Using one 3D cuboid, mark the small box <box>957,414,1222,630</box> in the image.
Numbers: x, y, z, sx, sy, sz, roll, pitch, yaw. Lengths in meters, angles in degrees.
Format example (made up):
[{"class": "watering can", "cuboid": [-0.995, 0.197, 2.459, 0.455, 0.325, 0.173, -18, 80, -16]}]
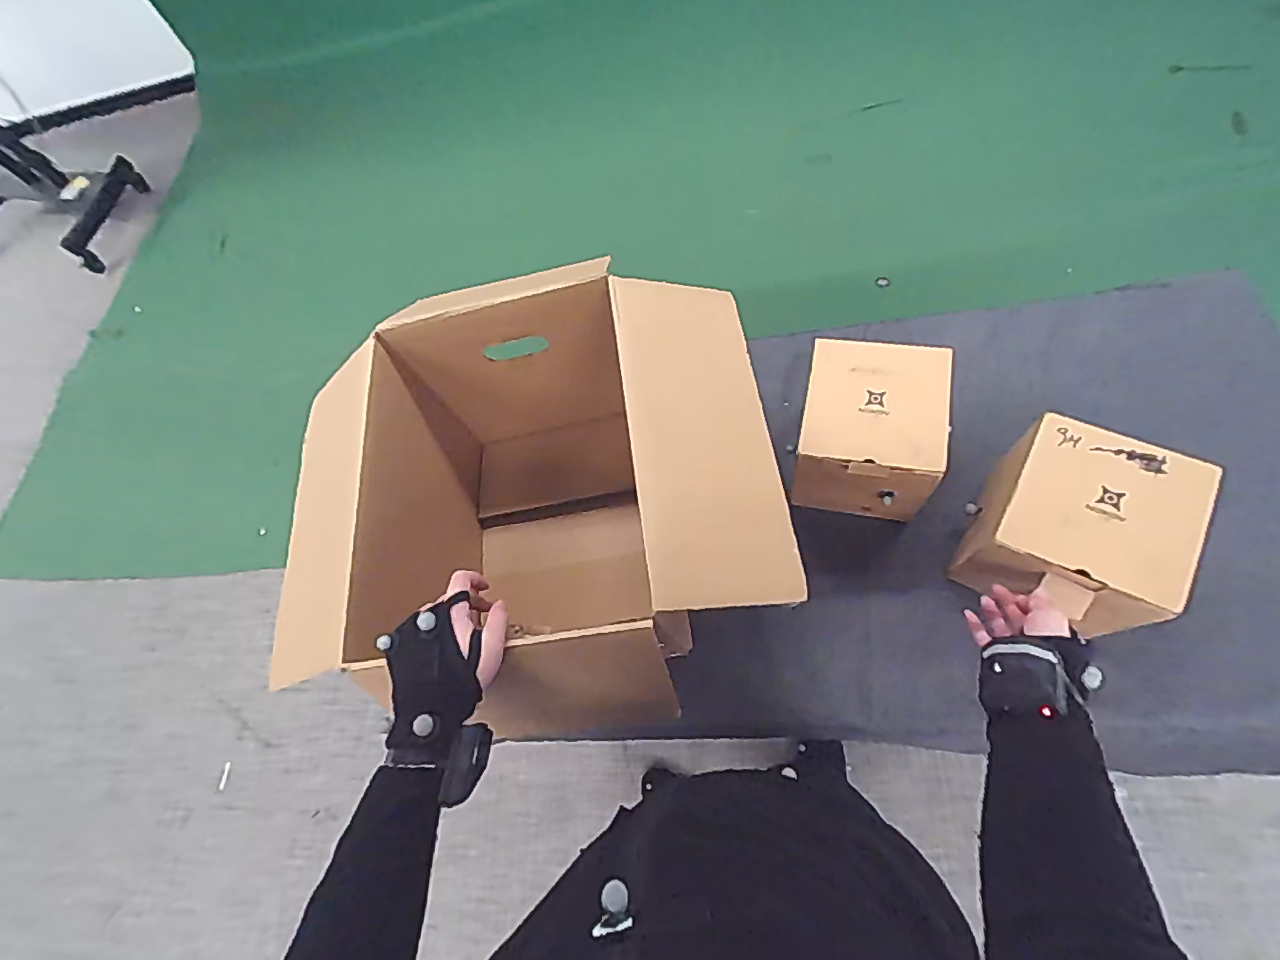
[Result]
[{"class": "small box", "cuboid": [0.509, 0.059, 0.644, 0.168, 0.176, 0.179, 28, 77, 23]}]
